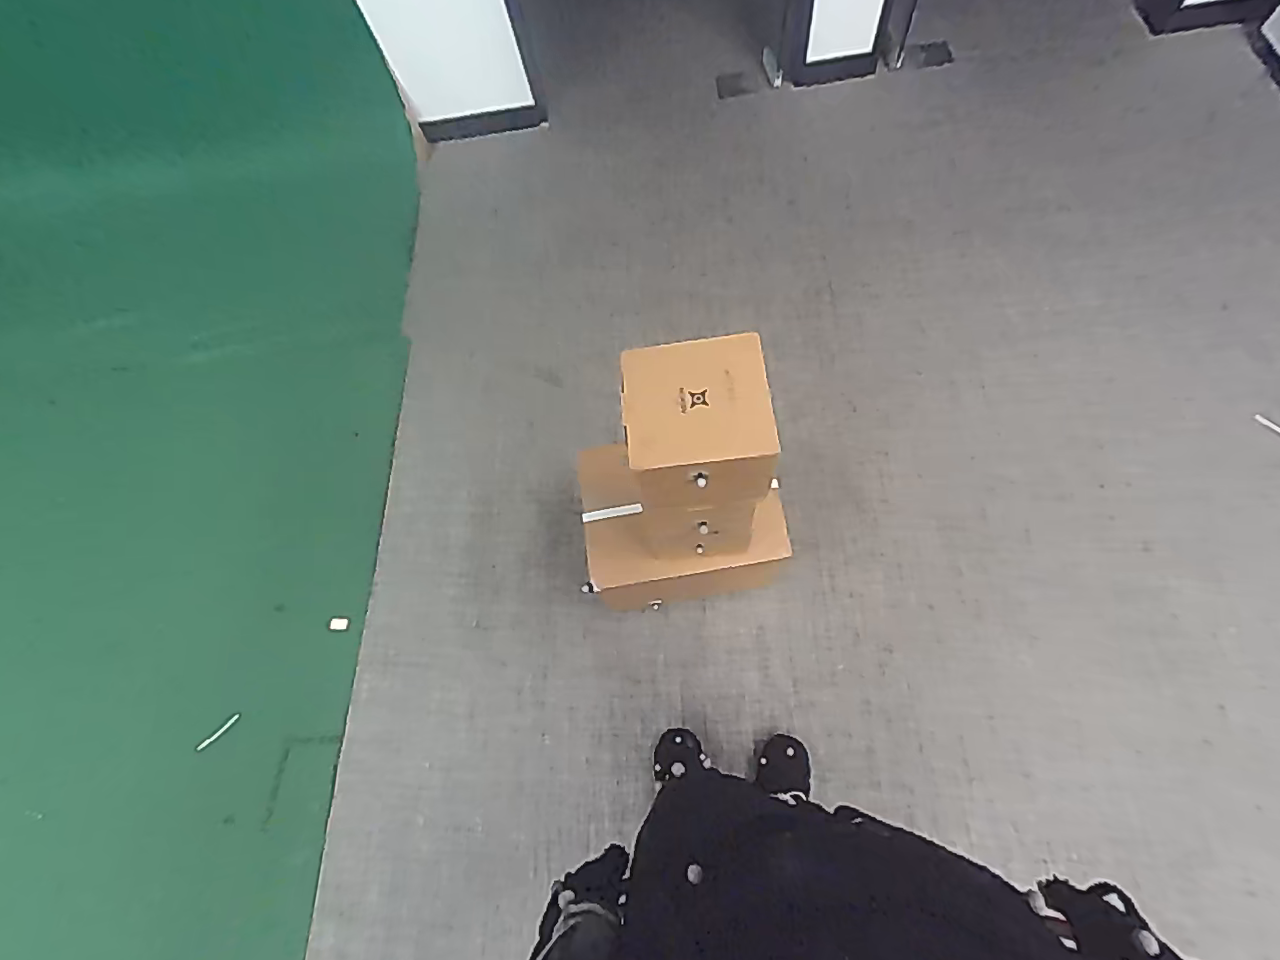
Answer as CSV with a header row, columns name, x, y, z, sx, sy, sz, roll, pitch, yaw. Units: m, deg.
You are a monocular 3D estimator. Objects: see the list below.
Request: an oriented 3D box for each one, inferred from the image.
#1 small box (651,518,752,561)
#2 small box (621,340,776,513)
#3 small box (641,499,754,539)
name,x,y,z,sx,sy,sz,roll,pitch,yaw
small box,0.112,0.052,1.032,0.179,0.176,0.168,-6,67,6
small box,0.077,-0.062,0.729,0.179,0.176,0.168,-7,69,4
small box,0.089,-0.008,0.882,0.168,0.176,0.179,-8,68,5
